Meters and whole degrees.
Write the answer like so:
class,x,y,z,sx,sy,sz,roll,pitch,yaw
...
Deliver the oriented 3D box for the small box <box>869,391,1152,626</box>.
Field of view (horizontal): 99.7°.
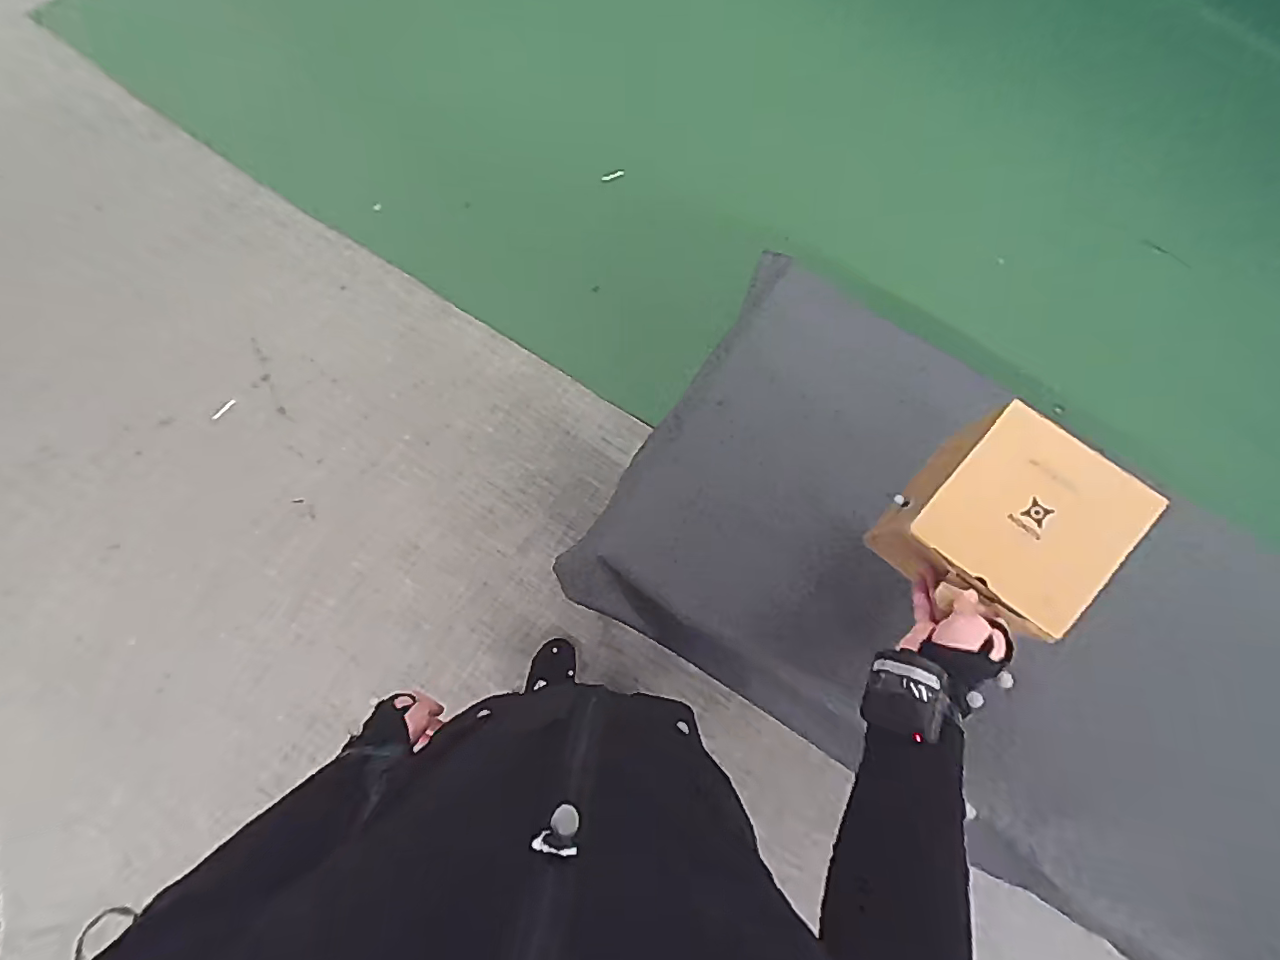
class,x,y,z,sx,sy,sz,roll,pitch,yaw
small box,0.385,0.037,0.606,0.168,0.176,0.179,40,87,10
